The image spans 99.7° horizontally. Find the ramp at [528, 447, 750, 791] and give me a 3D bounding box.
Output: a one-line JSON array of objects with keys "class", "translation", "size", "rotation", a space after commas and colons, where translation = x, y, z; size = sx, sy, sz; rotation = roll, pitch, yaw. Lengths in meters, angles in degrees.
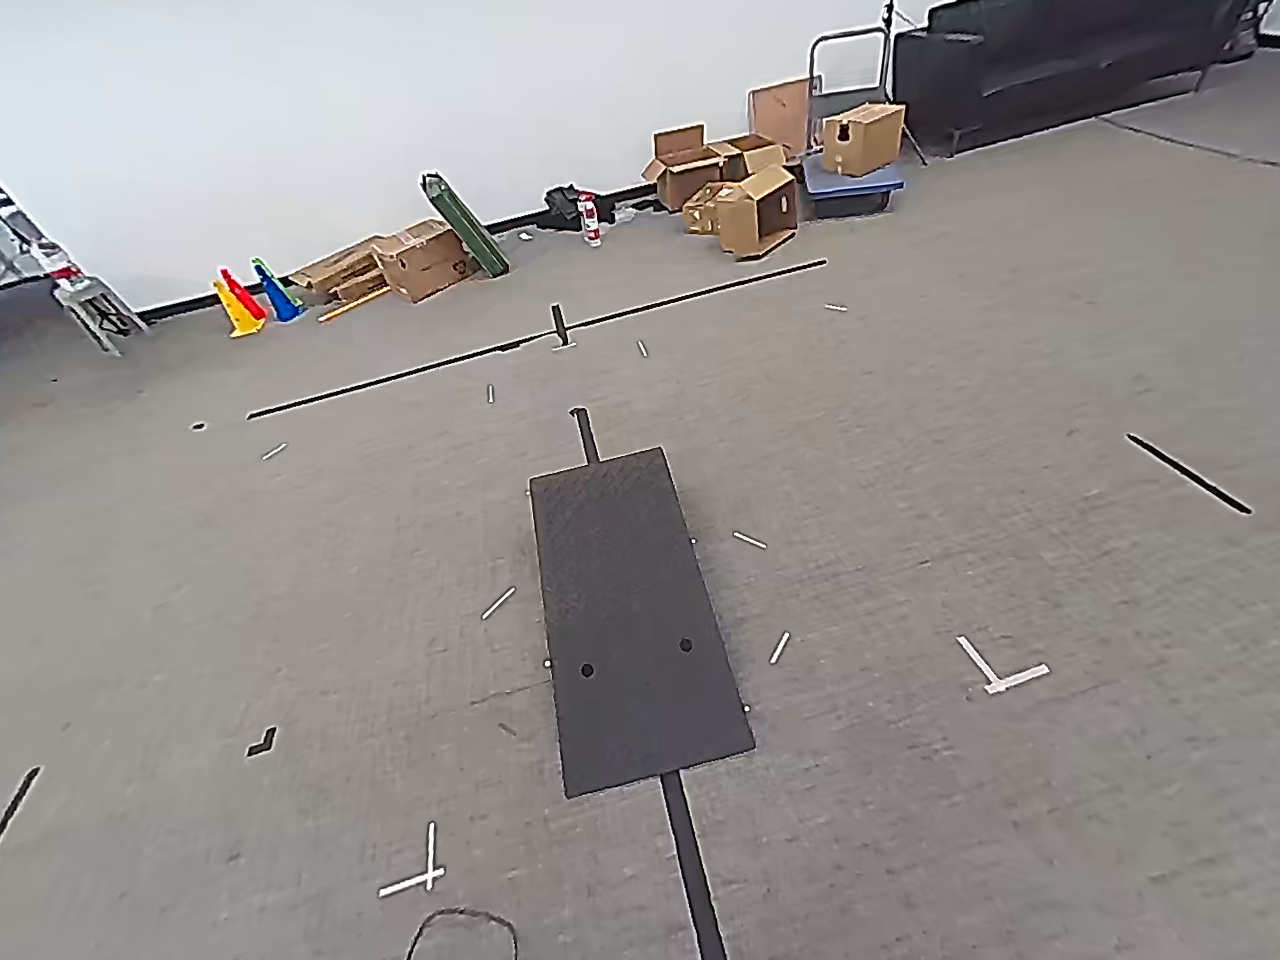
[{"class": "ramp", "translation": [-0.055, 0.331, 1.643], "size": [0.509, 0.206, 0.991], "rotation": [-14, 44, -4]}]
